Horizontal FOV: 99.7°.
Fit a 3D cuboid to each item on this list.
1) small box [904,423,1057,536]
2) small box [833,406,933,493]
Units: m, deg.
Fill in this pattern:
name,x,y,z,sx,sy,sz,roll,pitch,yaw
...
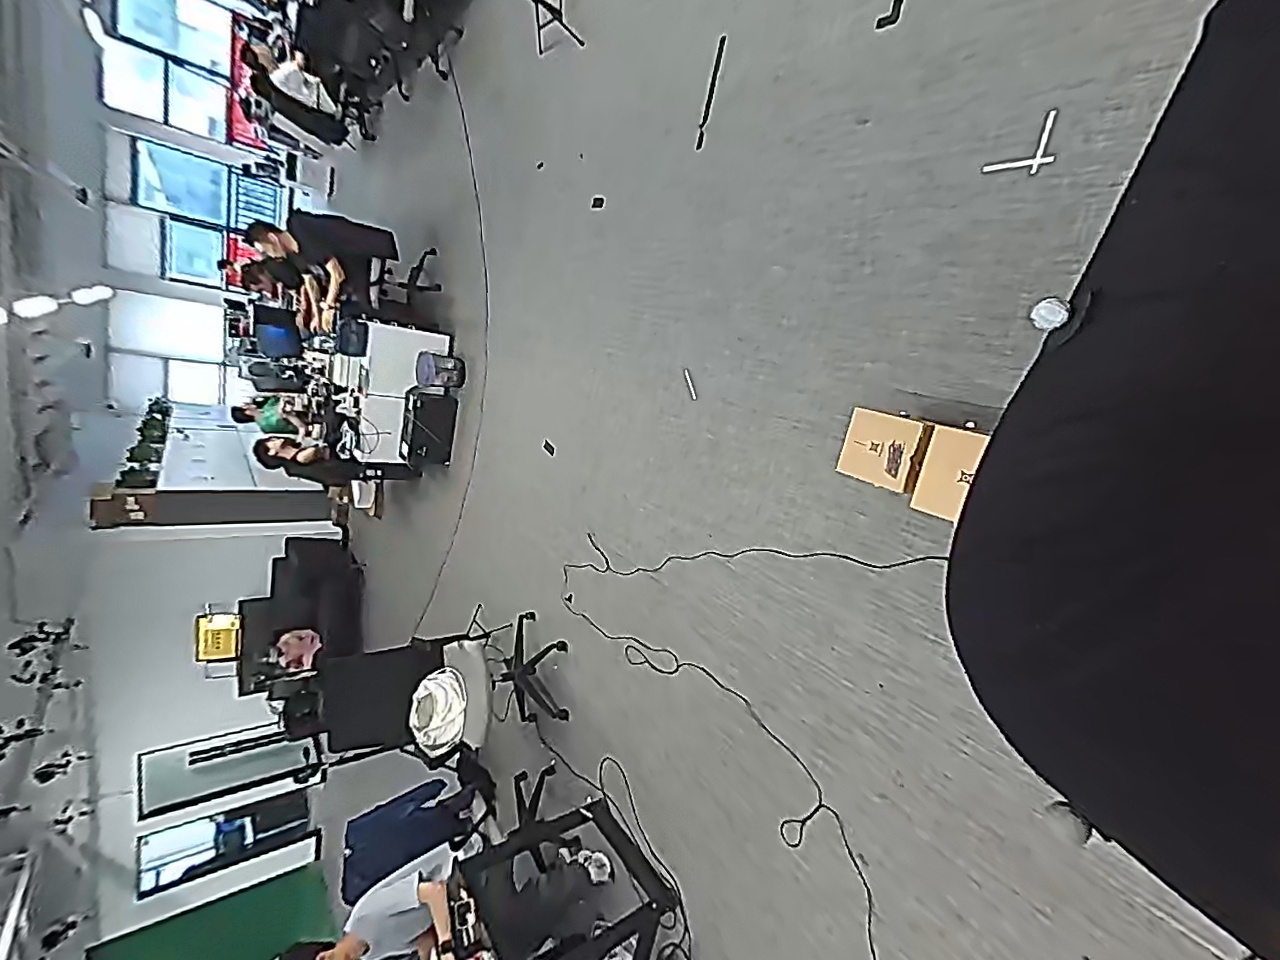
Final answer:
name,x,y,z,sx,sy,sz,roll,pitch,yaw
small box,0.641,-0.003,1.019,0.179,0.176,0.168,26,109,45
small box,0.610,-0.075,1.314,0.179,0.176,0.168,28,111,48
